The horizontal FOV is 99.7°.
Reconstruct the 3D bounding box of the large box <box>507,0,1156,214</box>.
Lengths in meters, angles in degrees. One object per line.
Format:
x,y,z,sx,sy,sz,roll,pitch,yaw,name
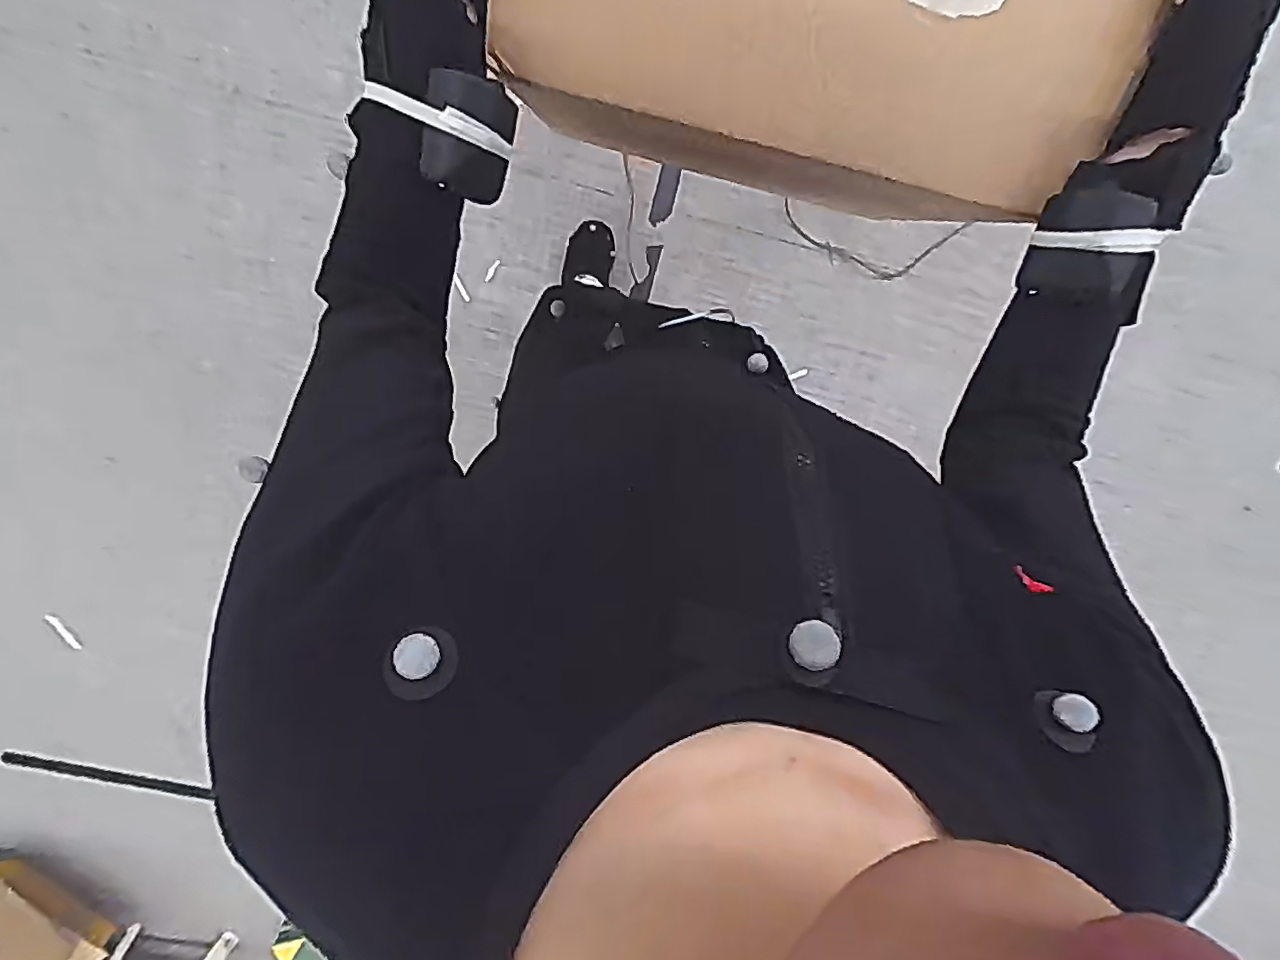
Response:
0.130,-0.425,0.439,0.408,0.320,0.320,10,117,-7,large box
